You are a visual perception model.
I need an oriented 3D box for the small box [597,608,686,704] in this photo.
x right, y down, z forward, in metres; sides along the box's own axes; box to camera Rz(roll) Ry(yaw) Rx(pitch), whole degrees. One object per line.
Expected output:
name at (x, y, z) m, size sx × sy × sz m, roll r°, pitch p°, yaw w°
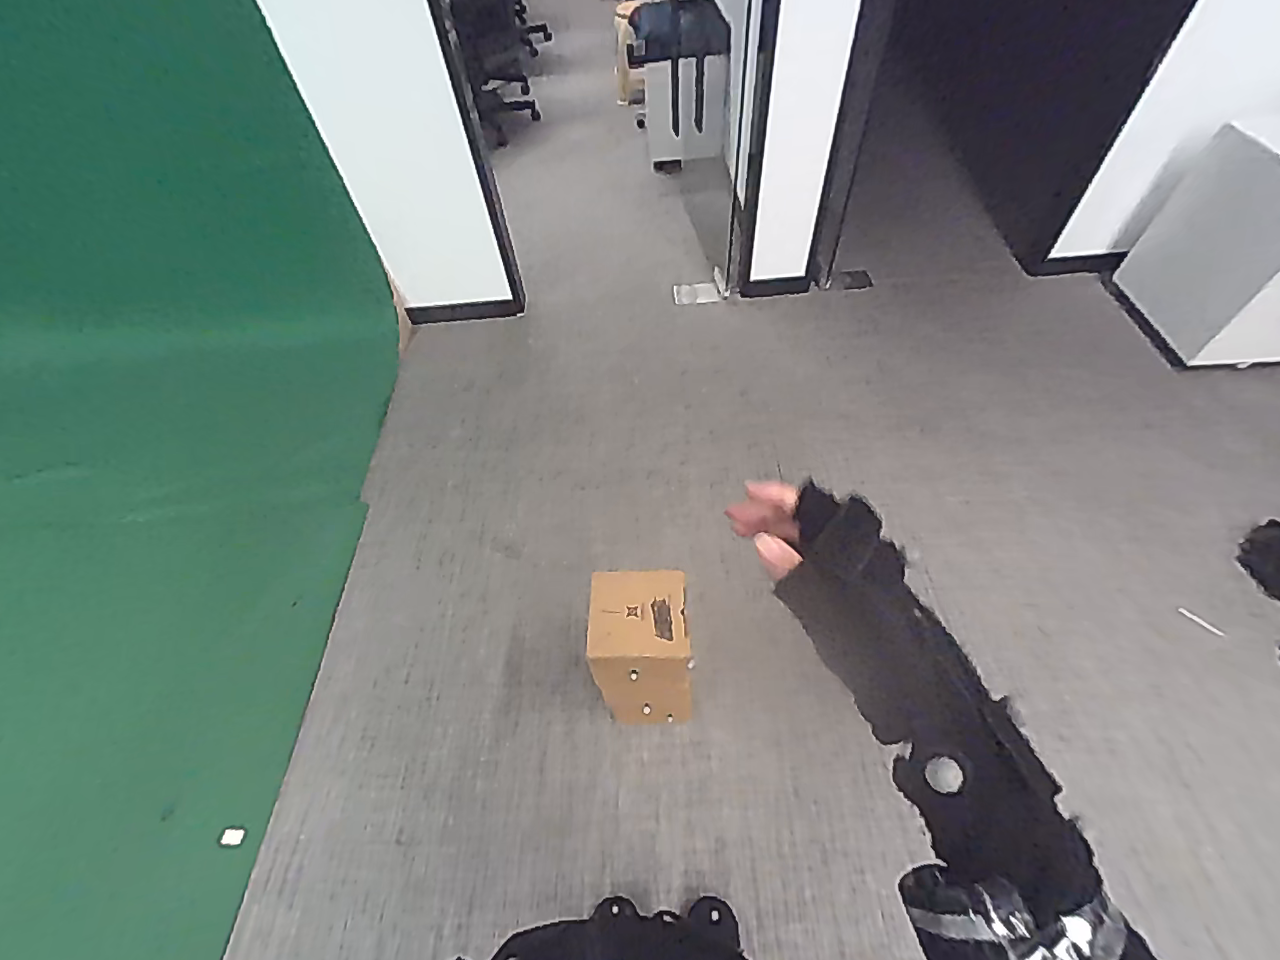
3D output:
small box at (0.008, 0.379, 1.173) m, size 0.179 × 0.176 × 0.168 m, roll 1°, pitch 54°, yaw 4°

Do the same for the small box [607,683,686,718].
small box at (0.019, 0.471, 1.309) m, size 0.179 × 0.176 × 0.168 m, roll -3°, pitch 53°, yaw 3°

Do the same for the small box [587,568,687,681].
small box at (-0.005, 0.282, 1.041) m, size 0.179 × 0.176 × 0.168 m, roll -2°, pitch 54°, yaw 1°
